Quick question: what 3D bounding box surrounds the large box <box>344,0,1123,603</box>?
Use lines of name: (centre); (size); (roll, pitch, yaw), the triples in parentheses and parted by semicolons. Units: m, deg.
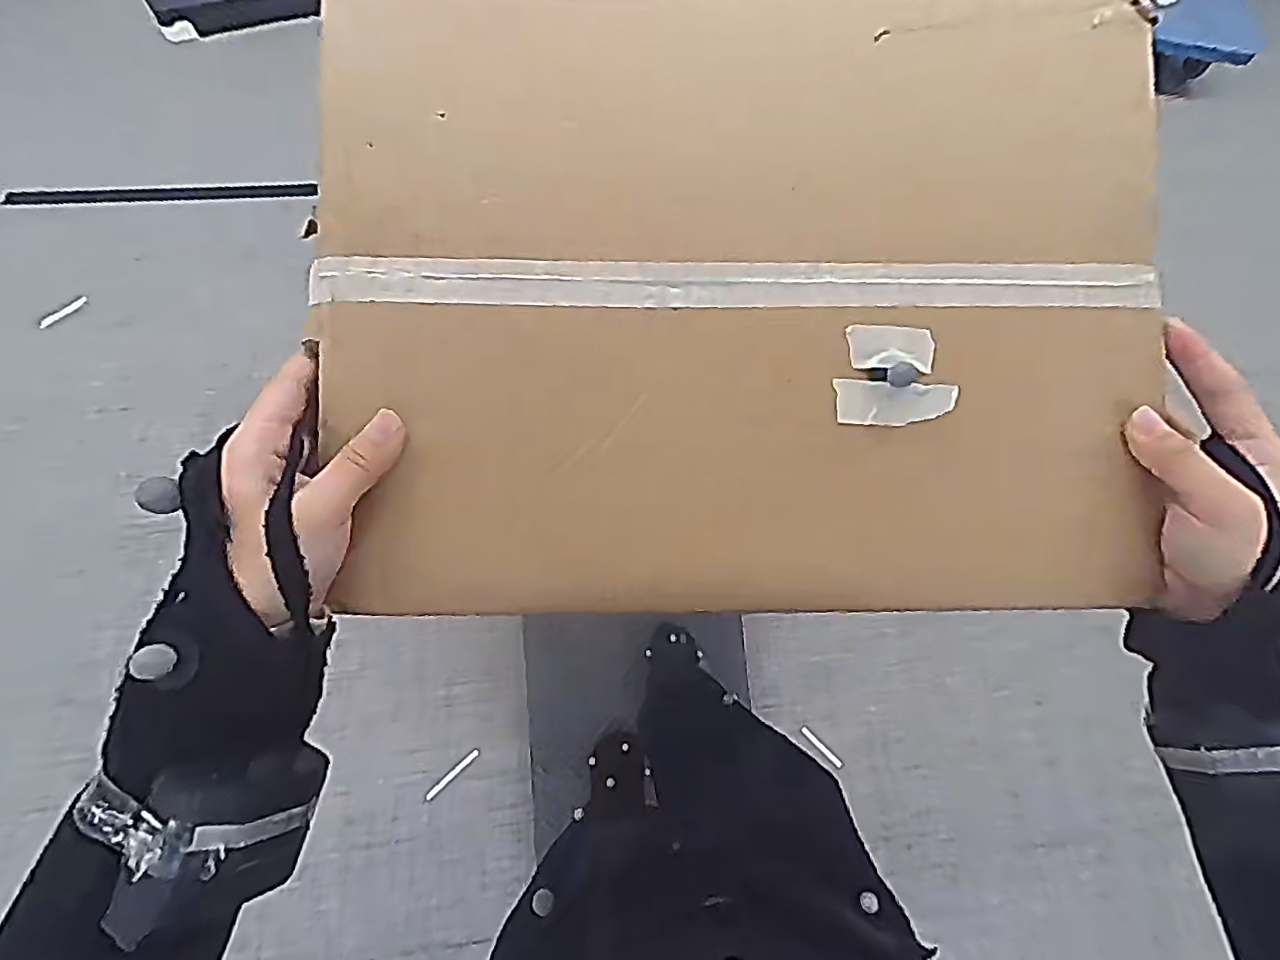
large box: (0.044, -0.093, 0.426); (0.408, 0.320, 0.320); (0, 89, -3)
